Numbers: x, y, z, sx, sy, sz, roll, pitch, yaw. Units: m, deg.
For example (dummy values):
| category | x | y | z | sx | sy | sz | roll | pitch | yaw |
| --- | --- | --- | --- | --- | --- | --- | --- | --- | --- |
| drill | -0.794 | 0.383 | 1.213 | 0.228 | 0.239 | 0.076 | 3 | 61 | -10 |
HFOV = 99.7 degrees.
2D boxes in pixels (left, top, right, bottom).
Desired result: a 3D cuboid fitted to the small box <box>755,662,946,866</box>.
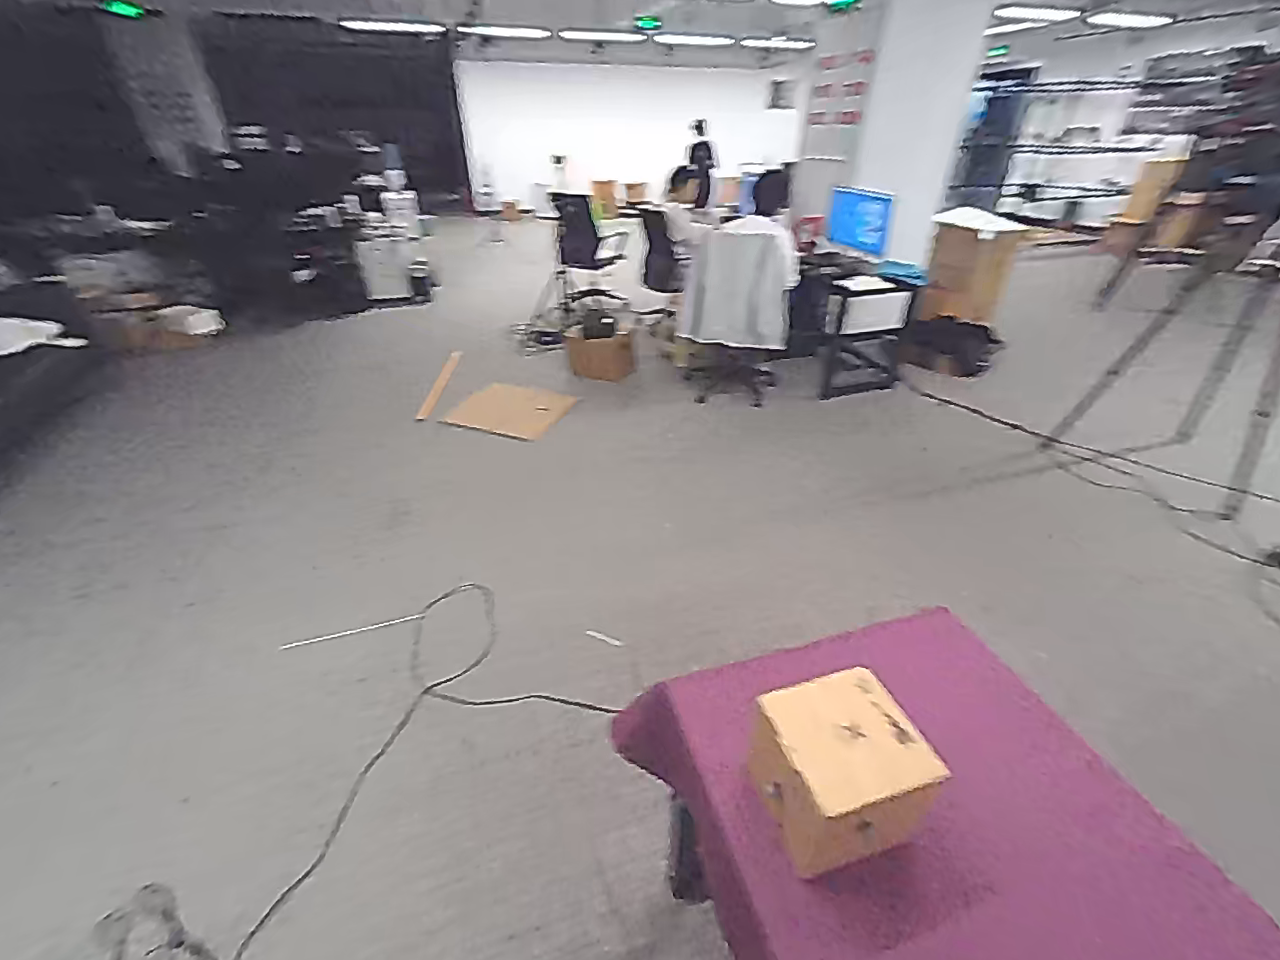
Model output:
| category | x | y | z | sx | sy | sz | roll | pitch | yaw |
| --- | --- | --- | --- | --- | --- | --- | --- | --- | --- |
| small box | 0.268 | 0.385 | 0.738 | 0.179 | 0.176 | 0.168 | -10 | 35 | -13 |
